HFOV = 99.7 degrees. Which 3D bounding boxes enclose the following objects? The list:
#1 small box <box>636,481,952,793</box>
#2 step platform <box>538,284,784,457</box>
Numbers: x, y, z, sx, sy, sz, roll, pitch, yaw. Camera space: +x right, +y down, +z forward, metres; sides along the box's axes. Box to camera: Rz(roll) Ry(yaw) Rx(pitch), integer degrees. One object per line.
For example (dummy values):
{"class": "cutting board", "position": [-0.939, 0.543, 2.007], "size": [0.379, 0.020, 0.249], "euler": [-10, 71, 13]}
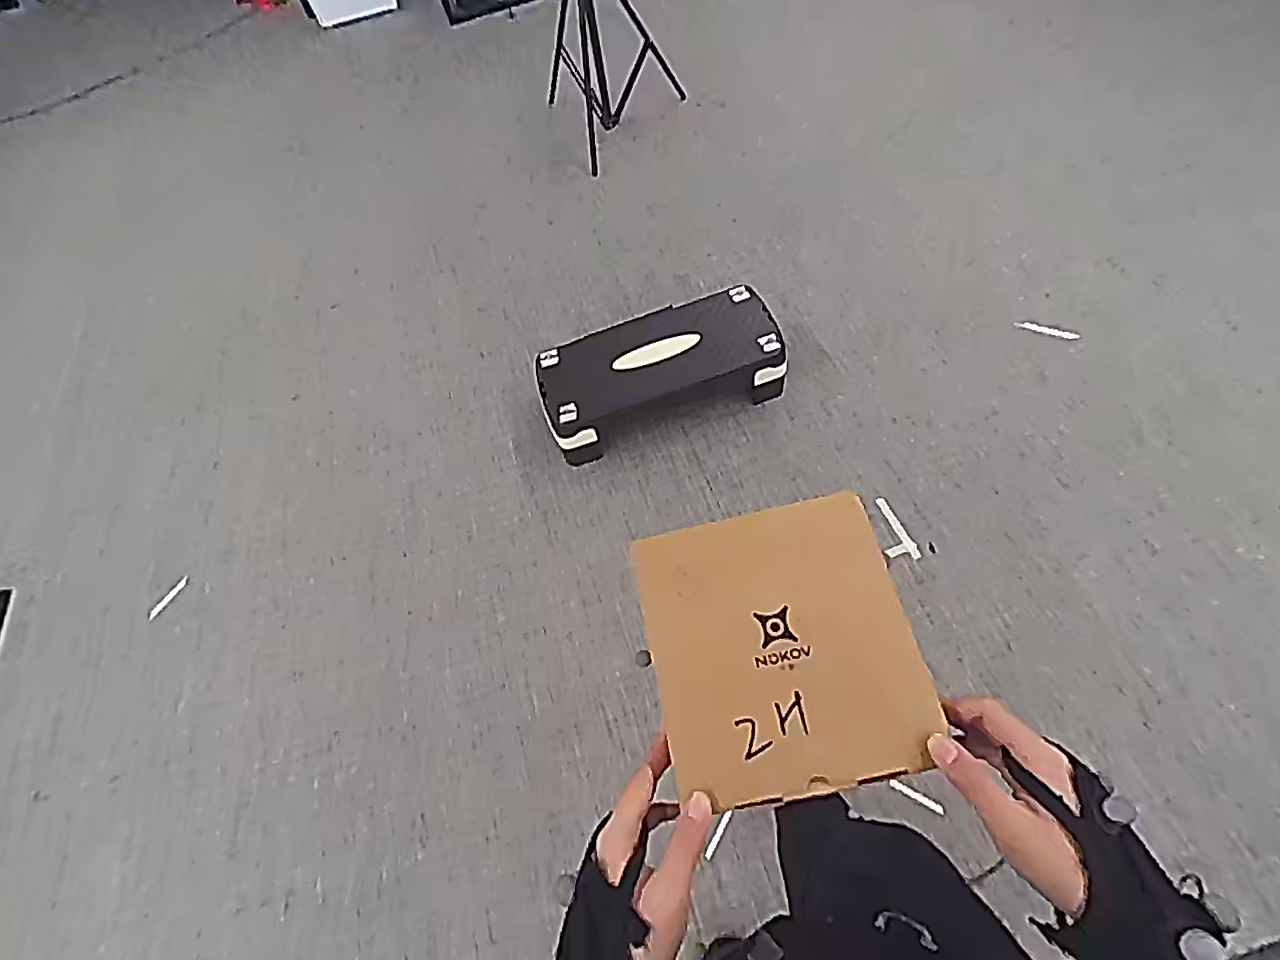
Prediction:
{"class": "small box", "position": [0.099, 0.125, 0.426], "size": [0.168, 0.176, 0.179], "euler": [-13, 67, 4]}
{"class": "step platform", "position": [0.057, -0.318, 1.556], "size": [0.684, 0.204, 0.286], "euler": [-20, 61, -2]}
